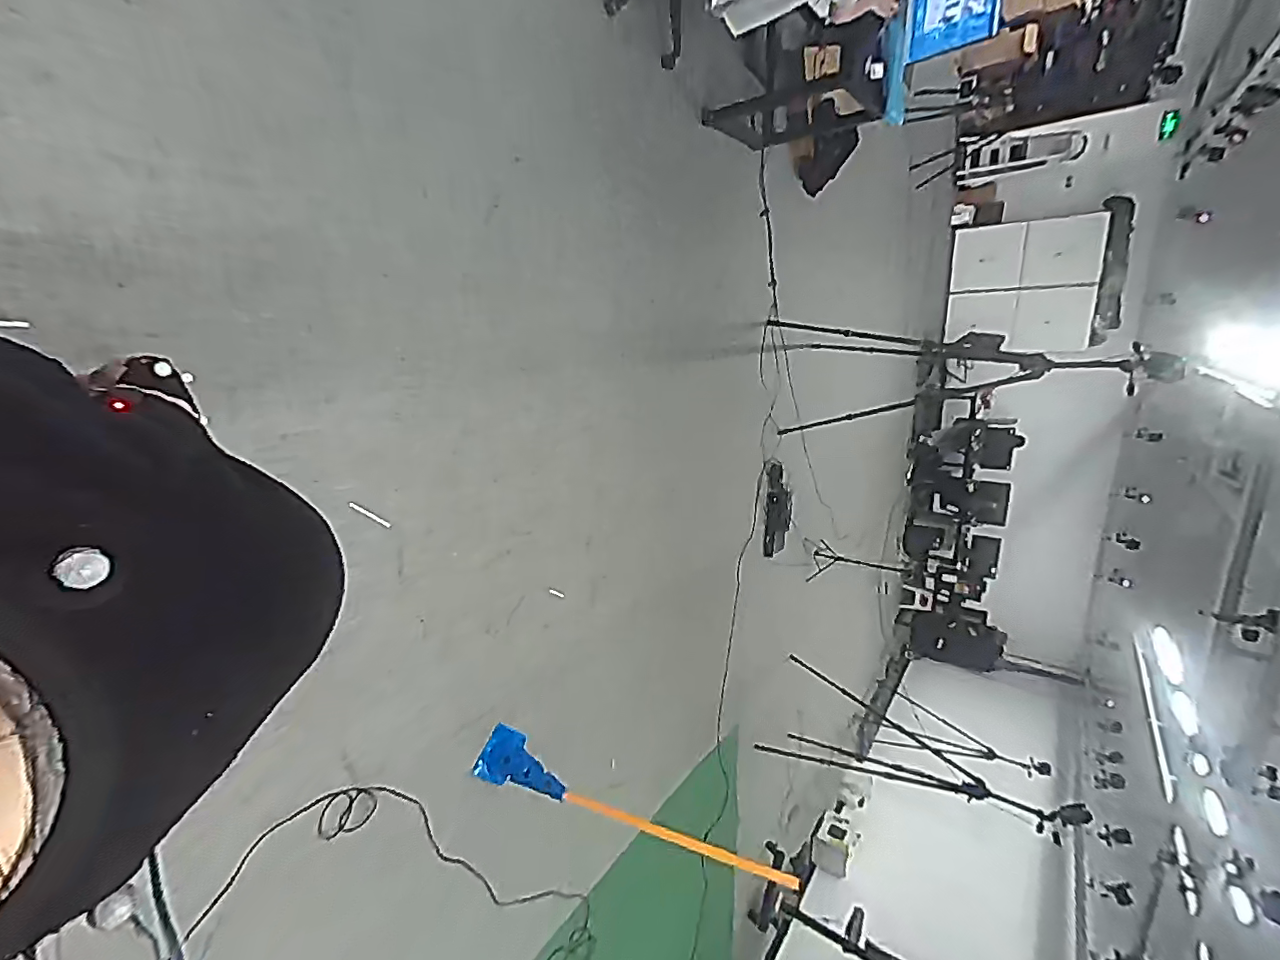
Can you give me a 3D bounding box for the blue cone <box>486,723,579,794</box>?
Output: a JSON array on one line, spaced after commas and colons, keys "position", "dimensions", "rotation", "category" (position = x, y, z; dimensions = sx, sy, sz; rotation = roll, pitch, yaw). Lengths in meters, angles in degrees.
[{"position": [-0.380, 1.073, 2.018], "dimensions": [0.192, 0.380, 0.193], "rotation": [53, 54, -44], "category": "blue cone"}]
